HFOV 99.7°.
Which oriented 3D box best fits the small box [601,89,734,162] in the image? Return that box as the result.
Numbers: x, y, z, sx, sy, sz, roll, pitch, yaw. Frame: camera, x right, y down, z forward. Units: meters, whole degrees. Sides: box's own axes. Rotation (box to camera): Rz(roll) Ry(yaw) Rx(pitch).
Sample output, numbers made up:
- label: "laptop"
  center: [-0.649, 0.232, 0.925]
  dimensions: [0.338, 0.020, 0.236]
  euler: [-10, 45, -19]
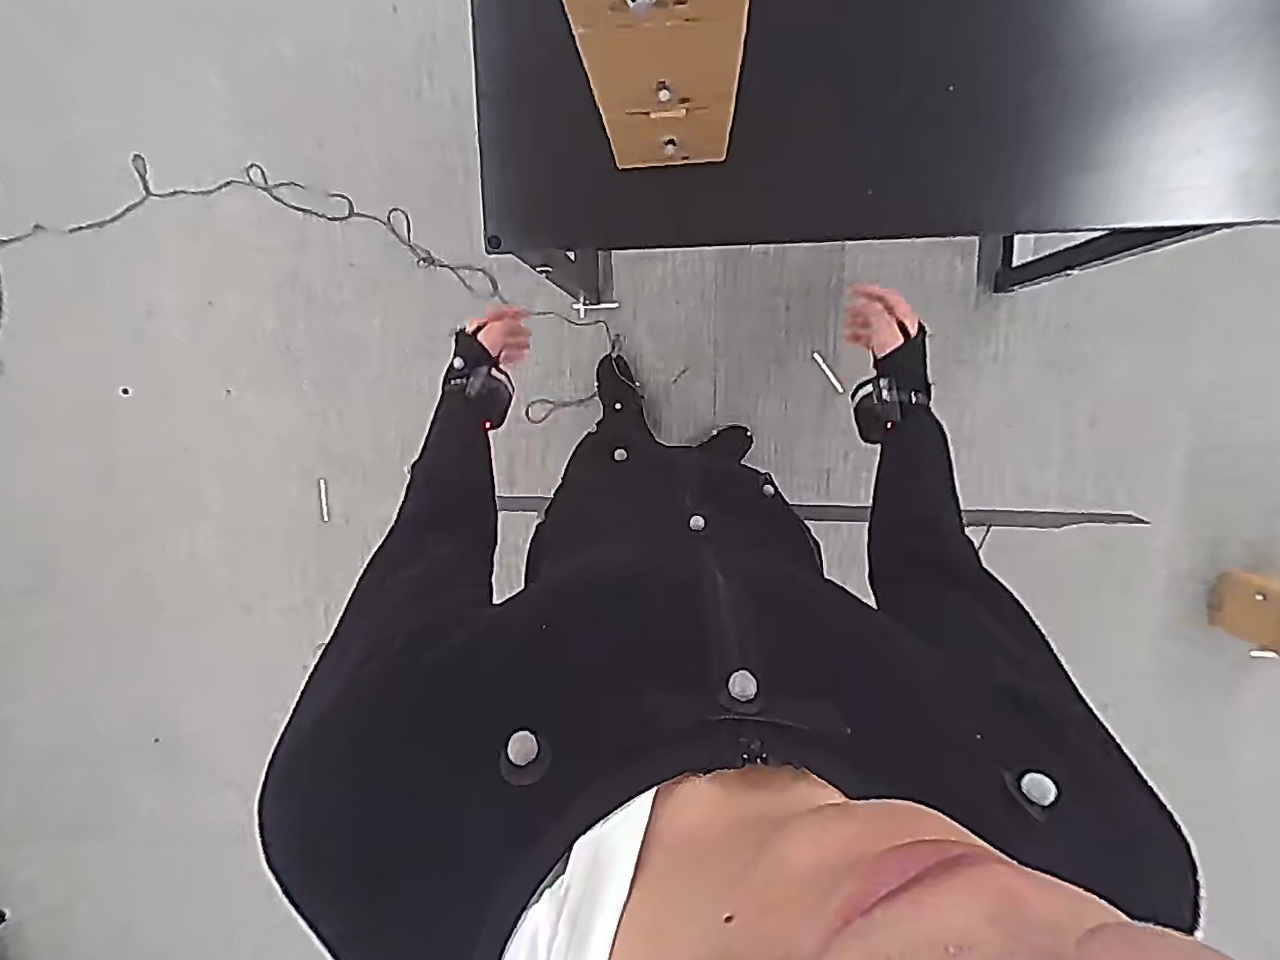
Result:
- label: "small box"
  center: [0.040, -0.548, 0.725]
  dimensions: [0.168, 0.176, 0.179]
  euler: [-1, 100, 5]

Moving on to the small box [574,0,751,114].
- label: "small box"
  center: [0.026, -0.522, 0.563]
  dimensions: [0.168, 0.176, 0.179]
  euler: [-1, 100, 6]

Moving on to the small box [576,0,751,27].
- label: "small box"
  center: [0.012, -0.494, 0.403]
  dimensions: [0.168, 0.176, 0.179]
  euler: [-1, 100, 7]
